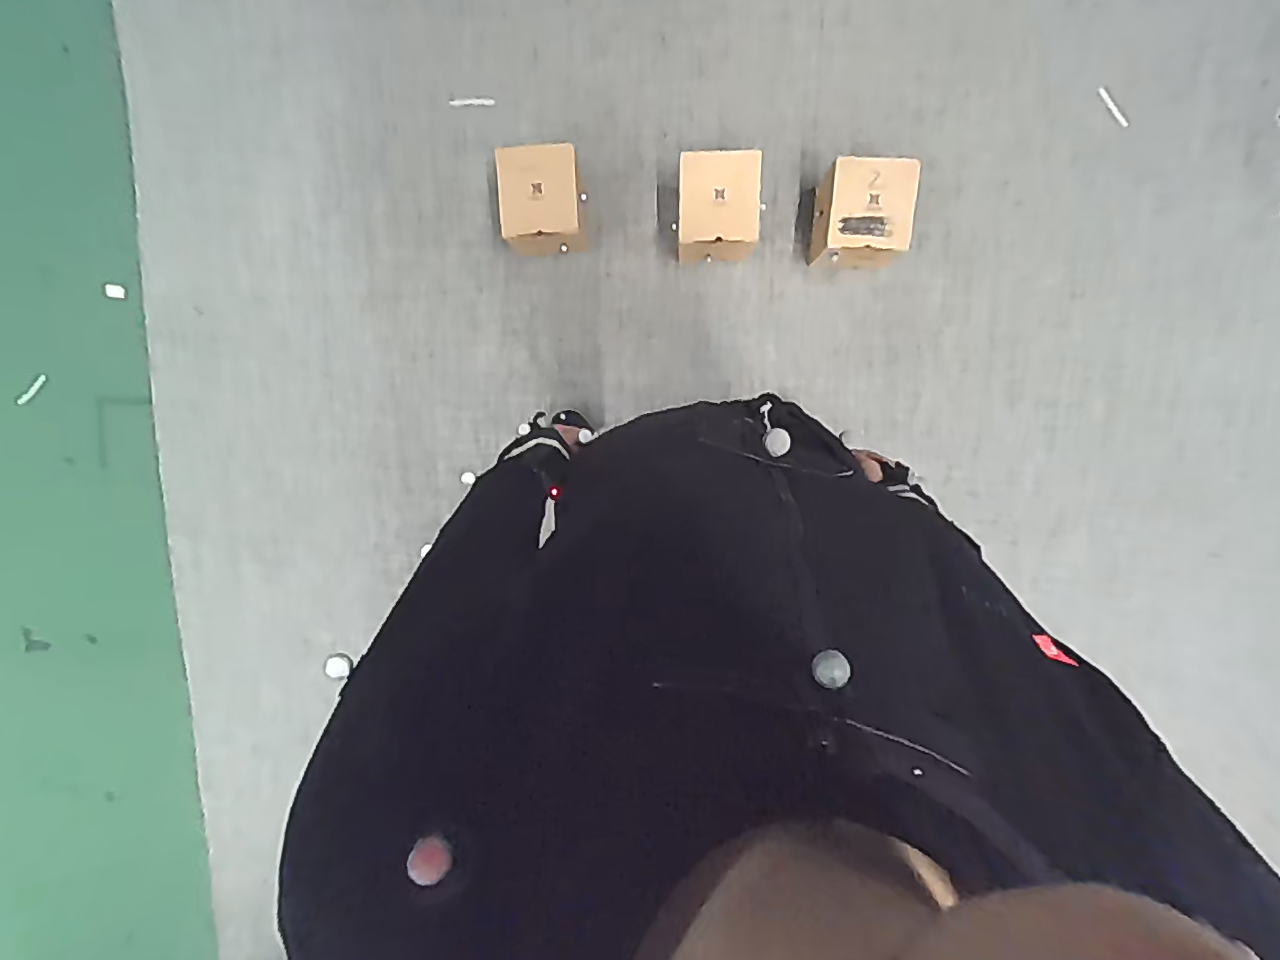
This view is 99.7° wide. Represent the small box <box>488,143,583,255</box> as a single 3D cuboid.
[{"bbox_3d":[-0.220,-0.600,1.179,0.168,0.176,0.179,-2,97,3],"label":"small box"}]

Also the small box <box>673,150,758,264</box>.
[{"bbox_3d":[0.155,-0.578,1.161,0.168,0.176,0.179,0,98,3],"label":"small box"}]
